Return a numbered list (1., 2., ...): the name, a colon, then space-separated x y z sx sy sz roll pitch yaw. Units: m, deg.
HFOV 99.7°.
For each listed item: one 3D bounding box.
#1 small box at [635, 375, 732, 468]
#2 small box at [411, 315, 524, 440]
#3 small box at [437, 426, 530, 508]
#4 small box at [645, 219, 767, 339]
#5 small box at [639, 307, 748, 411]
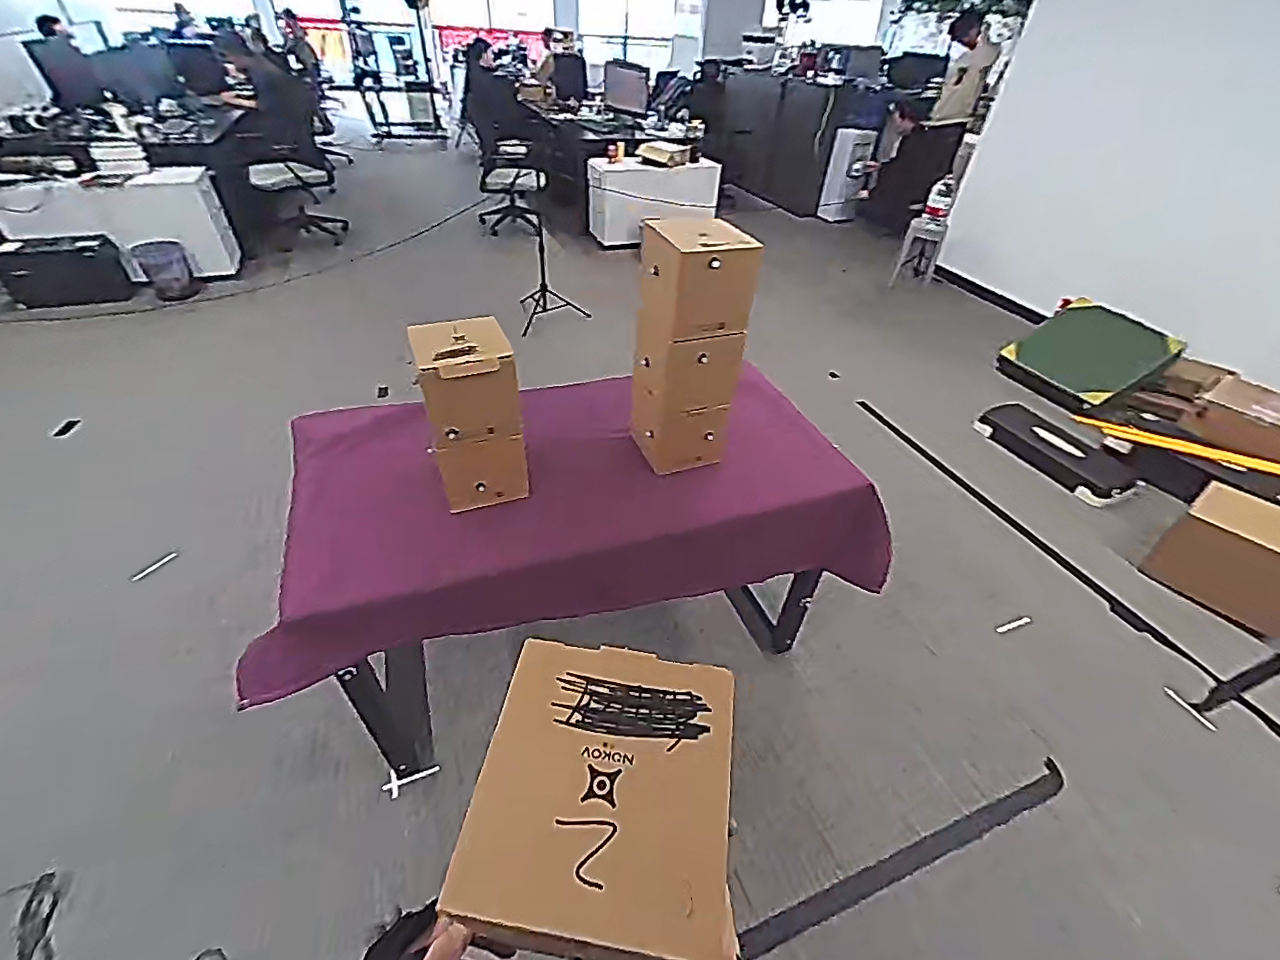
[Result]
1. small box: 0.093 -0.142 1.258 0.168 0.176 0.179 -12 43 -18
2. small box: -0.325 -0.191 1.031 0.168 0.176 0.179 -13 44 -20
3. small box: -0.333 -0.068 1.139 0.168 0.176 0.179 -12 45 -19
4. small box: 0.115 -0.391 1.046 0.168 0.176 0.179 -12 43 -18
5. small box: 0.103 -0.263 1.148 0.179 0.176 0.168 -12 44 -19
